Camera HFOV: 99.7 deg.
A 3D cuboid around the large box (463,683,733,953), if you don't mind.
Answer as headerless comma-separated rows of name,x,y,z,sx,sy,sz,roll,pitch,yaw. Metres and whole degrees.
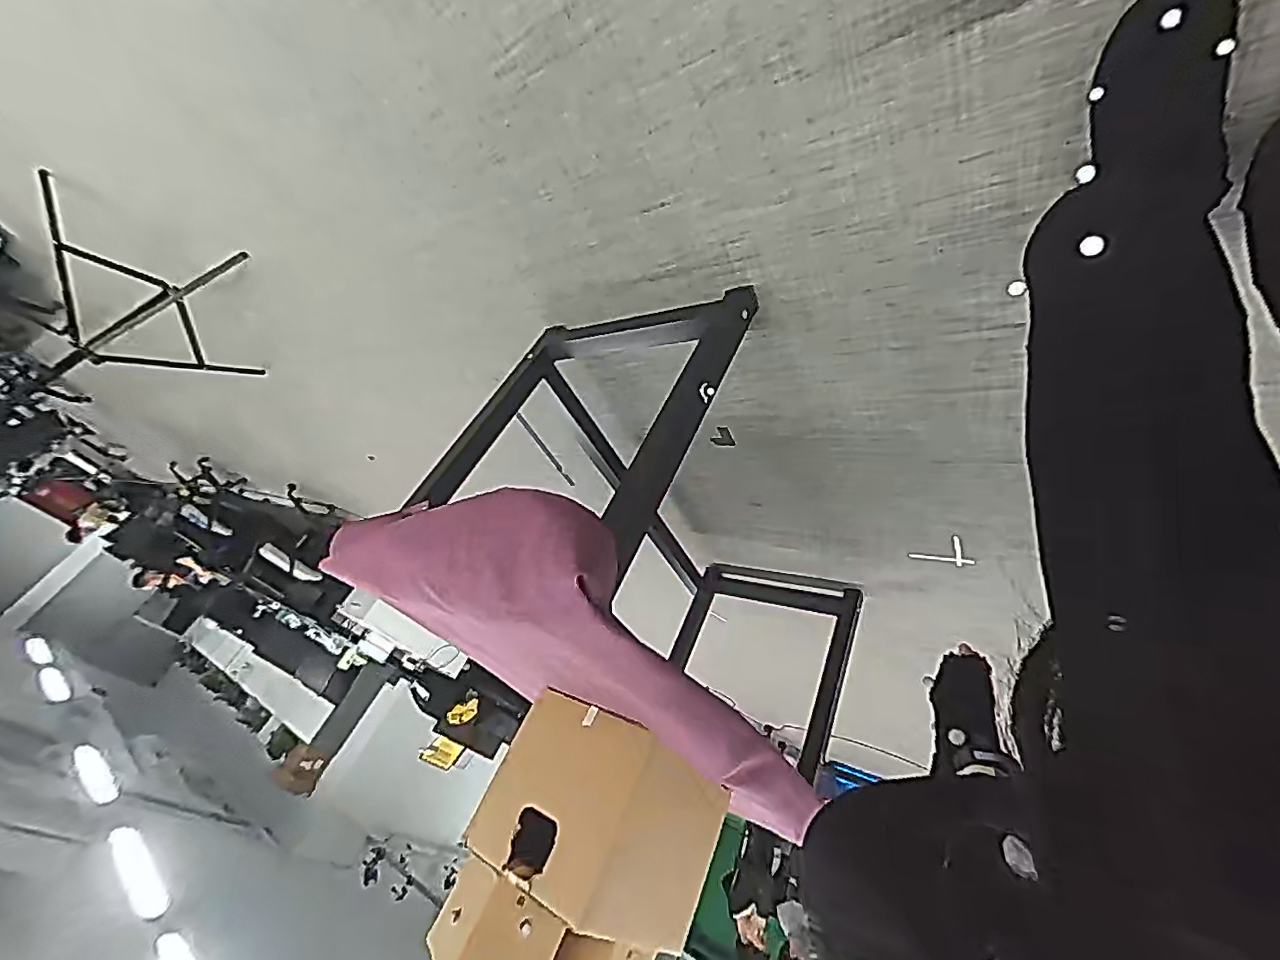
large box,-0.060,0.677,1.107,0.320,0.320,0.408,1,140,38
